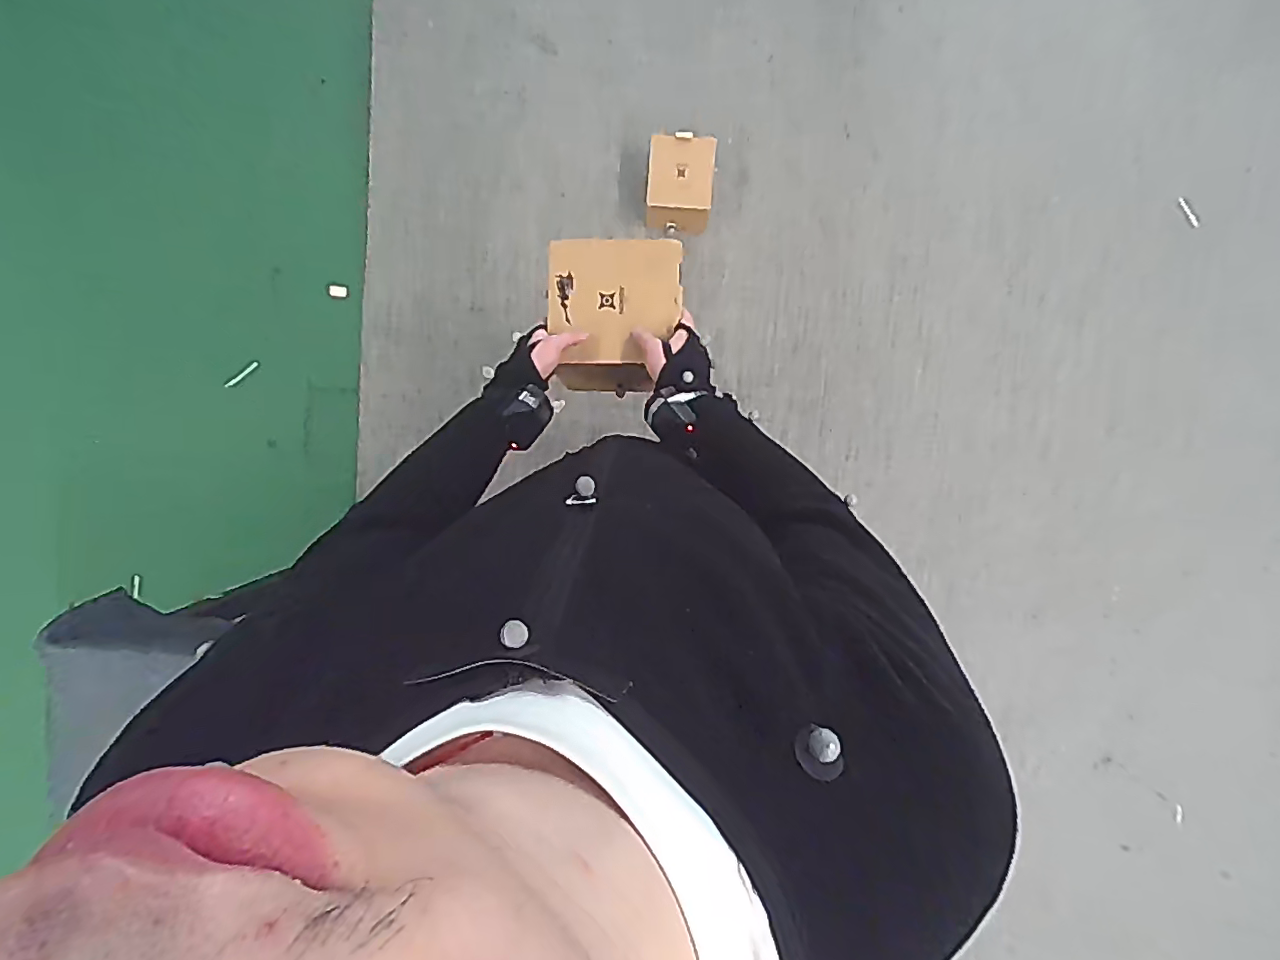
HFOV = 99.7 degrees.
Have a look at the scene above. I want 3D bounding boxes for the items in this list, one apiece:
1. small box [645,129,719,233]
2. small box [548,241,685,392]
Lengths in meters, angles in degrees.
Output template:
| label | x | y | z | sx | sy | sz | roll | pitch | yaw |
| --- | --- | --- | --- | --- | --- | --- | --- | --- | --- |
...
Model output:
| label | x | y | z | sx | sy | sz | roll | pitch | yaw |
| --- | --- | --- | --- | --- | --- | --- | --- | --- | --- |
| small box | 0.104 | -0.774 | 1.412 | 0.168 | 0.176 | 0.179 | 7 | 95 | 2 |
| small box | -0.030 | -0.226 | 0.785 | 0.179 | 0.176 | 0.168 | 1 | 87 | 2 |
